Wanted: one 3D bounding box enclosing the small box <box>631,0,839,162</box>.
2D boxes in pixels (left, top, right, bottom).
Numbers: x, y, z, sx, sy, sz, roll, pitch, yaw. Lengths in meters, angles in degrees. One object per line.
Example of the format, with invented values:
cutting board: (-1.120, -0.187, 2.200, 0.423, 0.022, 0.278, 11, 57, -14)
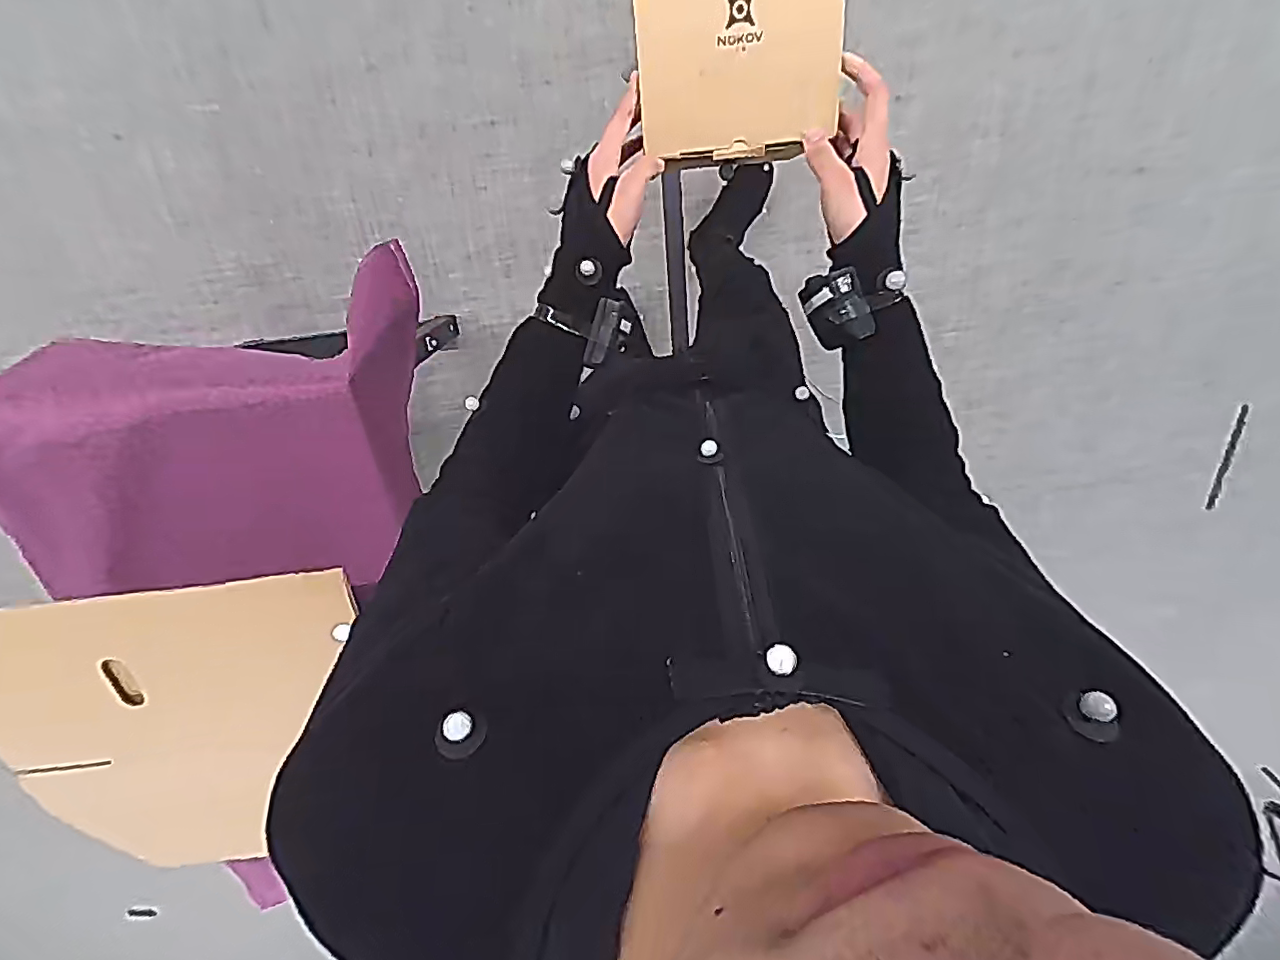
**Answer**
small box: (0.078, -0.403, 0.502, 0.168, 0.176, 0.179, -4, 117, 3)
